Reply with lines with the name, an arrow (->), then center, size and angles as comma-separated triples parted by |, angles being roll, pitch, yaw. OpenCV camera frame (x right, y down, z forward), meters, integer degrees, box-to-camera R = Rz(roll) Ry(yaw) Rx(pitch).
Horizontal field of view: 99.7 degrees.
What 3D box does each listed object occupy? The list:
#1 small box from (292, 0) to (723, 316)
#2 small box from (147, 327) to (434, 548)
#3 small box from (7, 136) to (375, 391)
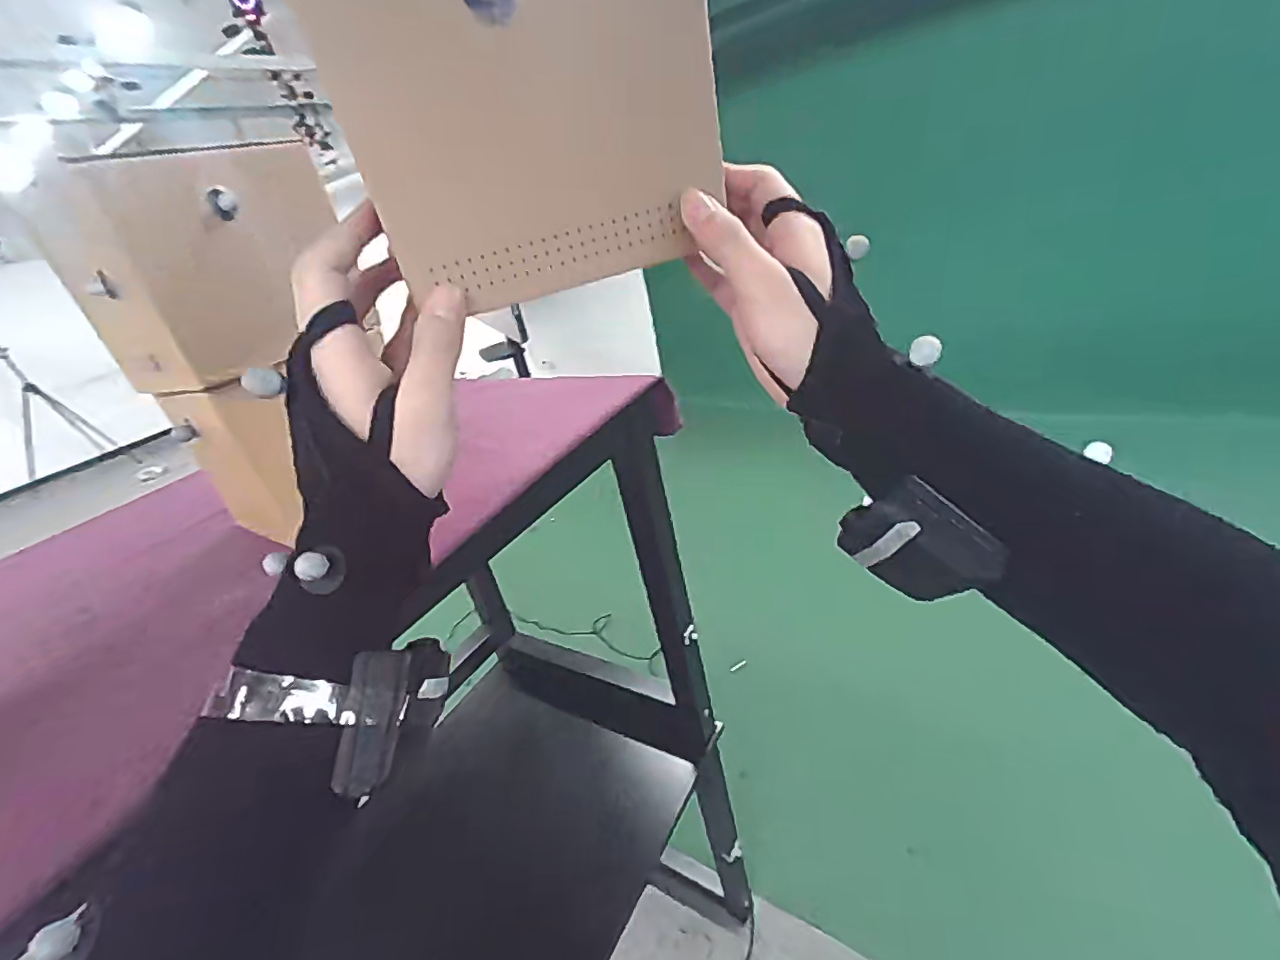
small box -> -0.069, -0.207, 0.312 | 0.179, 0.176, 0.168 | -19, 32, -10
small box -> -0.353, -0.048, 0.569 | 0.179, 0.176, 0.168 | 7, 35, 37
small box -> -0.385, -0.187, 0.488 | 0.168, 0.176, 0.179 | 6, 34, 34
